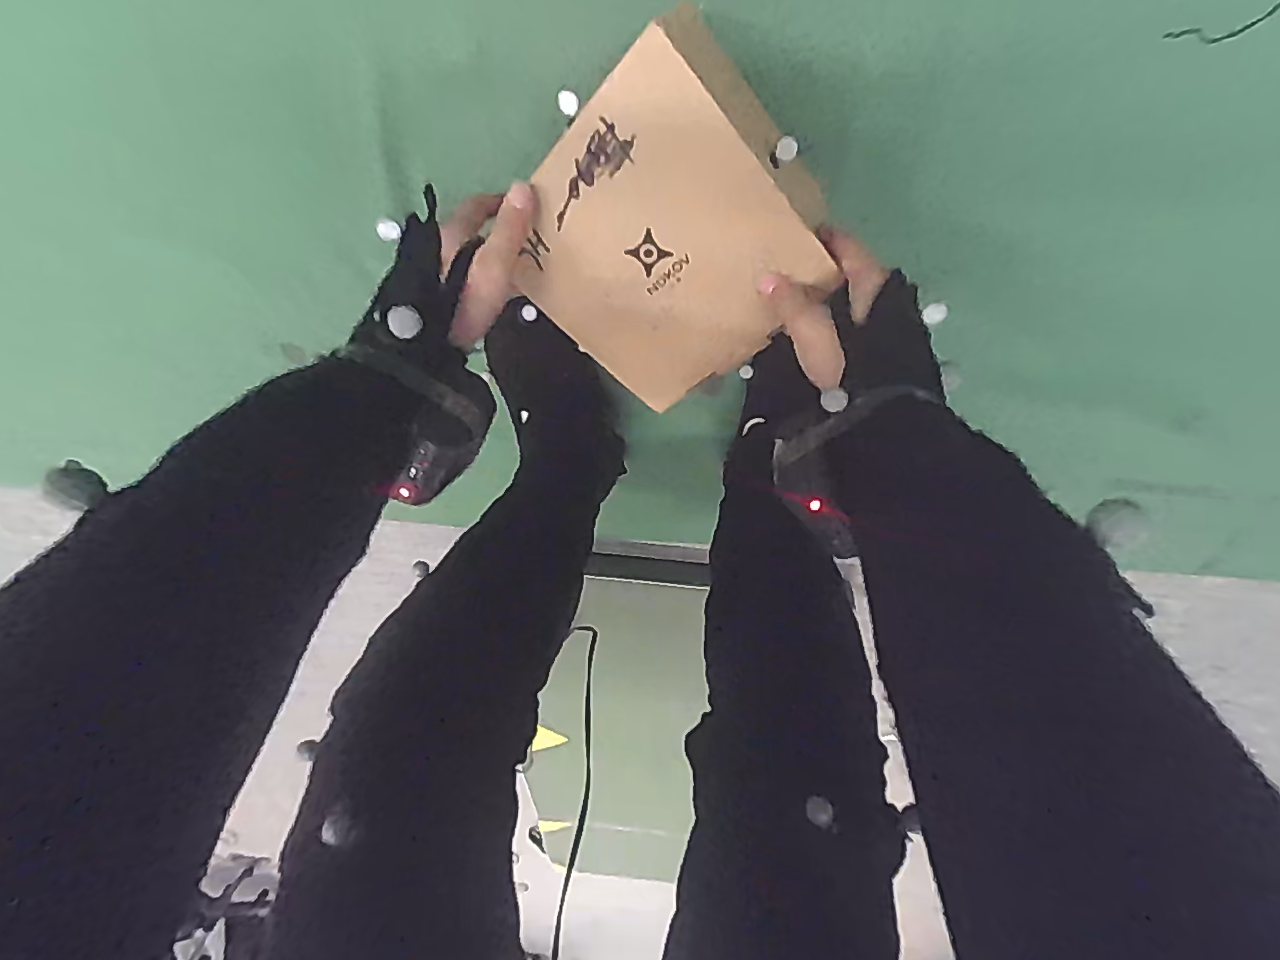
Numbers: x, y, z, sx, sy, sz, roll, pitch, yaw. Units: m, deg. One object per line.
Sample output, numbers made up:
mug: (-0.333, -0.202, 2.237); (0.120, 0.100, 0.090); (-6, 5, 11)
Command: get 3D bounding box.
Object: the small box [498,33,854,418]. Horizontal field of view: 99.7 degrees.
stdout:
small box: (0.033, -0.187, 0.405); (0.179, 0.176, 0.168); (39, 128, -24)
